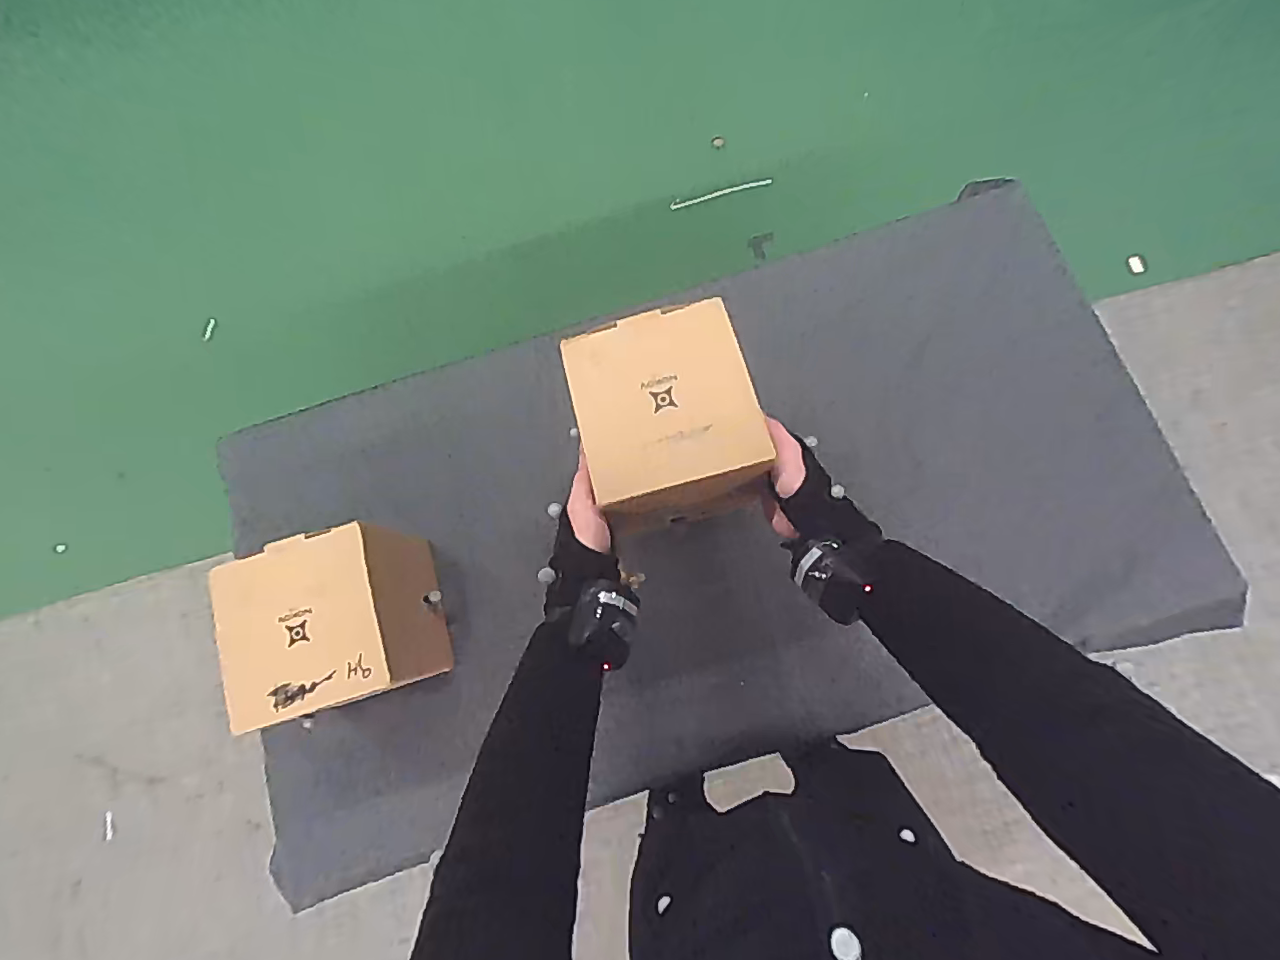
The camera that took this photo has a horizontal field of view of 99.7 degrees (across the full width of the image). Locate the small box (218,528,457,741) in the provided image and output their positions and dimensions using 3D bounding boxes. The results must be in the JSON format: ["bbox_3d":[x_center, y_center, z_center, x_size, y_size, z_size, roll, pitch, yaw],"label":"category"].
[{"bbox_3d":[-0.336,0.172,0.625,0.168,0.176,0.179,-18,76,1],"label":"small box"}]

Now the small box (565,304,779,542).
[{"bbox_3d":[0.030,-0.048,0.571,0.168,0.176,0.179,-15,73,1],"label":"small box"}]
